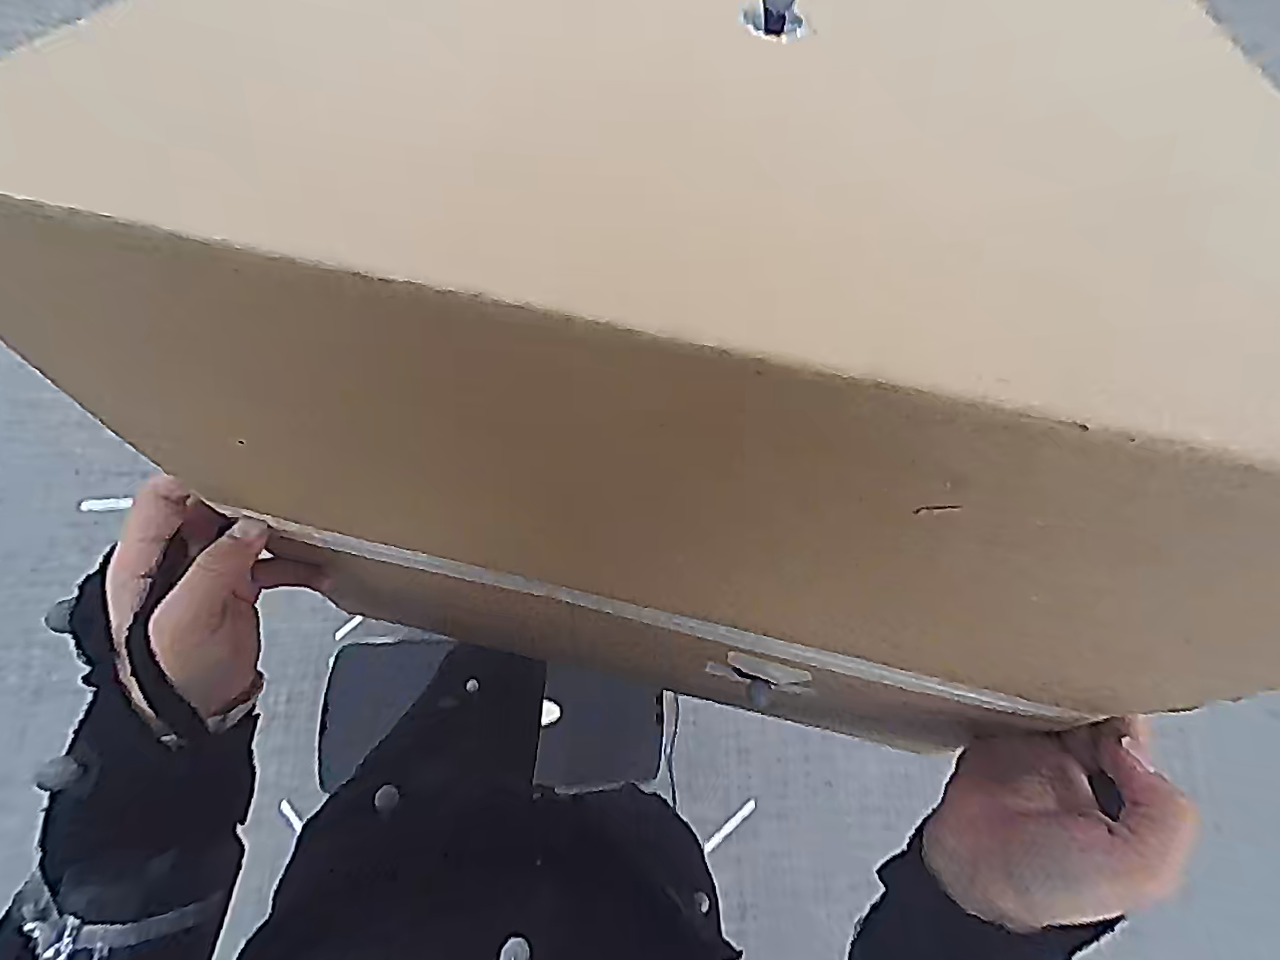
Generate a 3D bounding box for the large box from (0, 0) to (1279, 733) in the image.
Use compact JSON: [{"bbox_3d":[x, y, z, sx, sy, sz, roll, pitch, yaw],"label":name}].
[{"bbox_3d":[0.029,-0.073,0.333,0.408,0.320,0.320,12,58,3],"label":"large box"}]
